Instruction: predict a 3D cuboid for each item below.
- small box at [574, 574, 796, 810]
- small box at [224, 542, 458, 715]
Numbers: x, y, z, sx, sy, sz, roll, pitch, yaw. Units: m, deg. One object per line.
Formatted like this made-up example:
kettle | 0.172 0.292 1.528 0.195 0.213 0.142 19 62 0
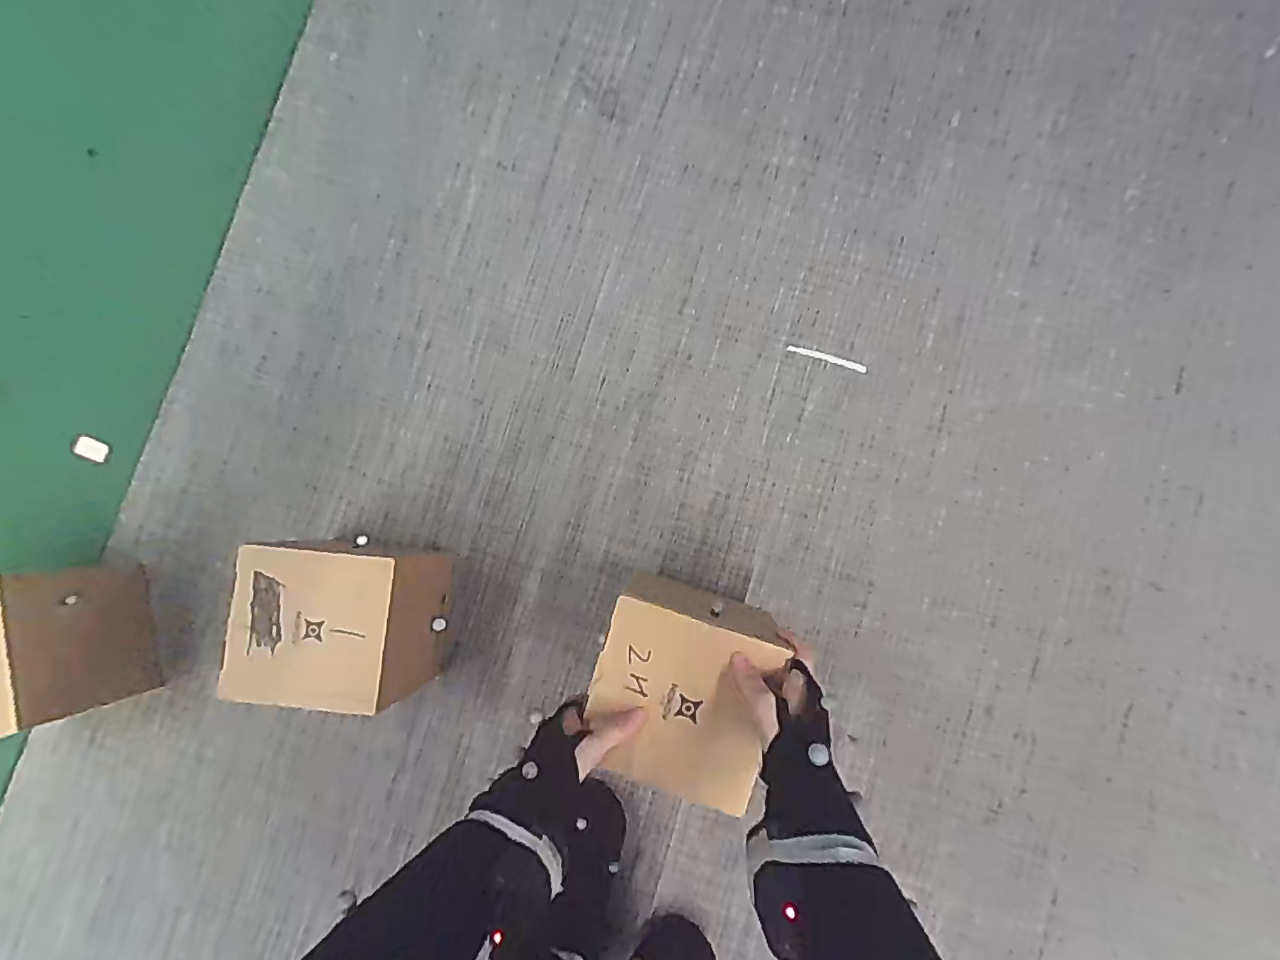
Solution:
small box | 0.049 0.213 0.598 0.179 0.176 0.168 18 90 6
small box | -0.344 0.166 0.655 0.179 0.176 0.168 5 85 2
